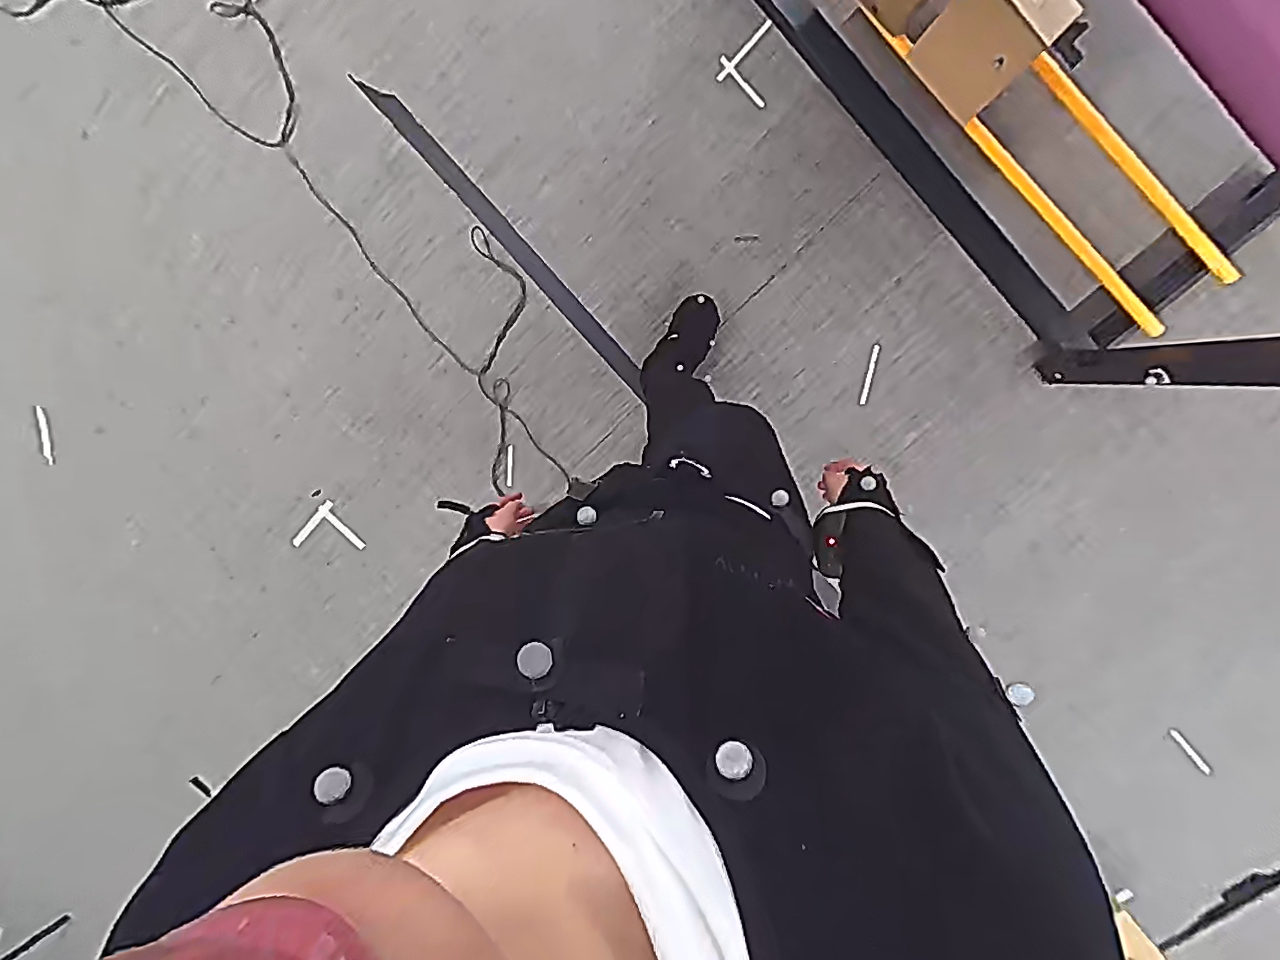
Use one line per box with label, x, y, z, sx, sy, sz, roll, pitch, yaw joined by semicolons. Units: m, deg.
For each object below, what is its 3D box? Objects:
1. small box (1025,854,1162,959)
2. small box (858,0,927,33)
small box;1.153;1.121;1.390;0.168;0.176;0.179;-40;94;11
small box;0.478;-0.948;0.933;0.168;0.176;0.179;44;103;-4
